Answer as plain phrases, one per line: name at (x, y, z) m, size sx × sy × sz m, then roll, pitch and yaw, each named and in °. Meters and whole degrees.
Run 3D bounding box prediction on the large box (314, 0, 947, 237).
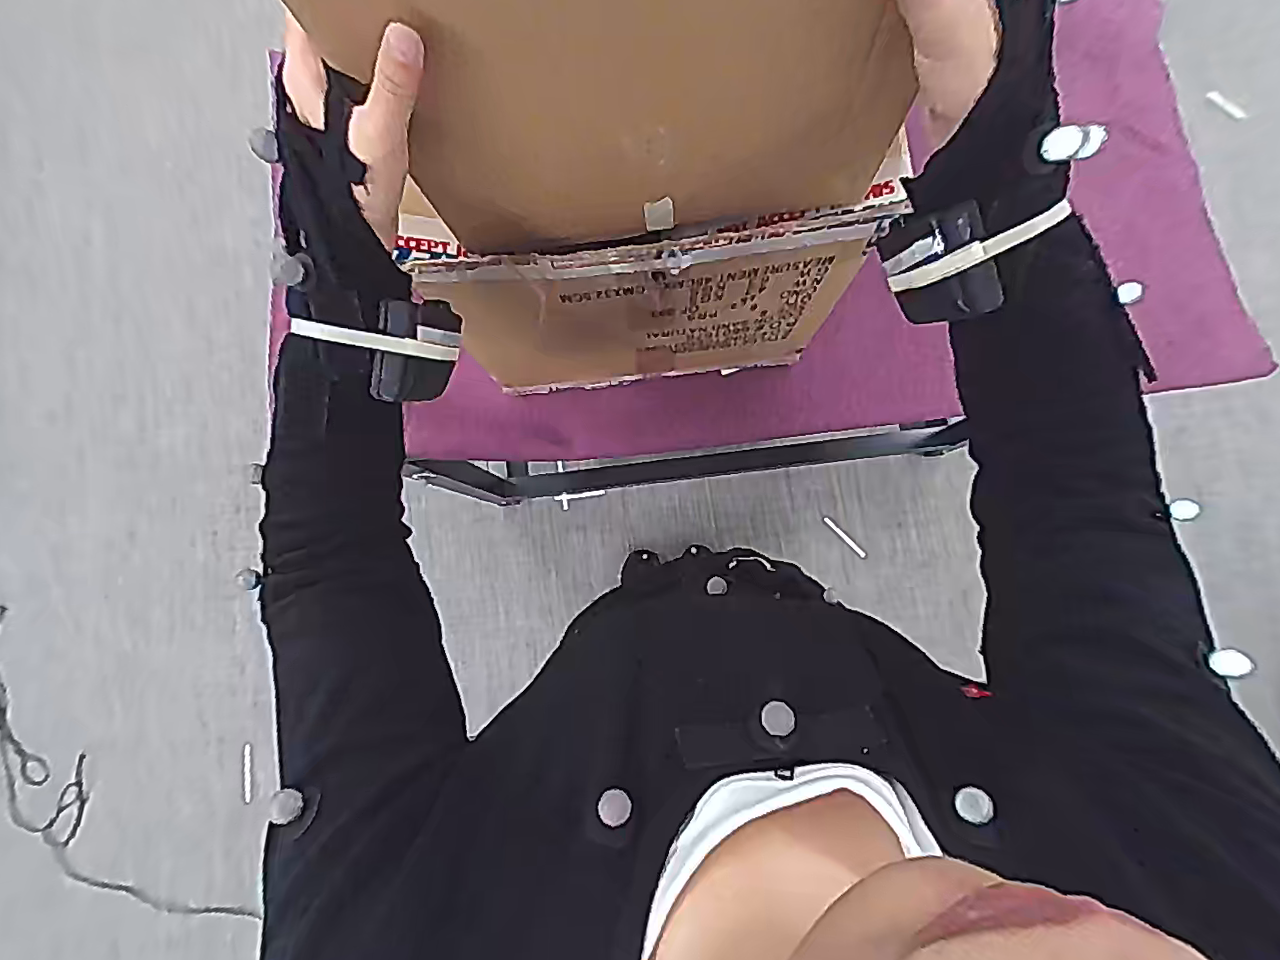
large box at (-0.016, -0.418, 0.293) m, size 0.320 × 0.320 × 0.408 m, roll -7°, pitch 82°, yaw 5°
